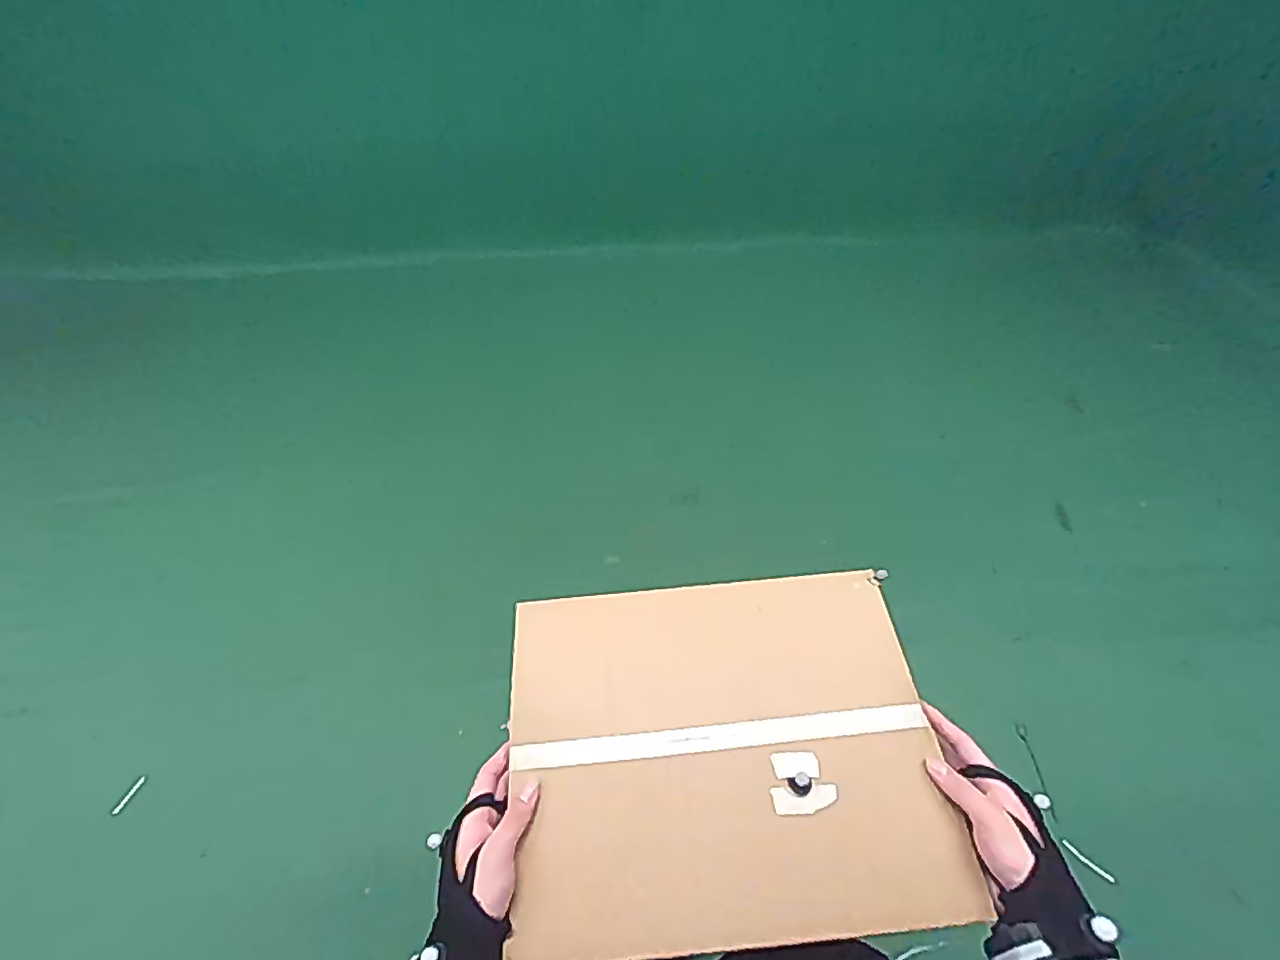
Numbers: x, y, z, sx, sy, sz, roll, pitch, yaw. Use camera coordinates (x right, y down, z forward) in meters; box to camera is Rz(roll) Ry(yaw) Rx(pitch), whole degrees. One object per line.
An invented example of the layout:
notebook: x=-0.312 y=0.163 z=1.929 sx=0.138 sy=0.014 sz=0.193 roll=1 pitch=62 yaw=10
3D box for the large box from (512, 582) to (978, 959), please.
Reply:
large box: x=0.078 y=0.348 z=0.653 sx=0.408 sy=0.320 sz=0.320 roll=-5 pitch=56 yaw=-2
